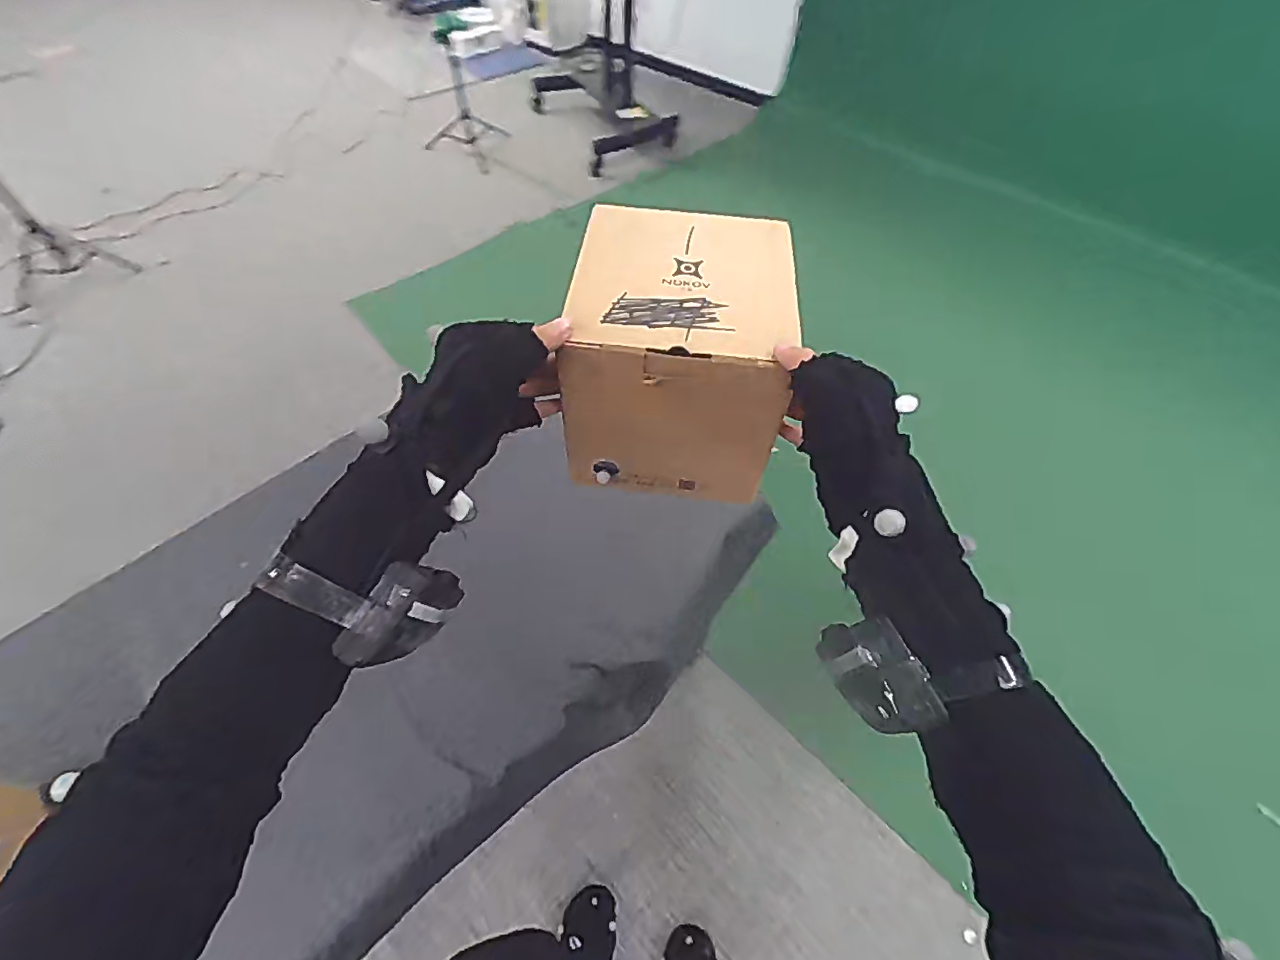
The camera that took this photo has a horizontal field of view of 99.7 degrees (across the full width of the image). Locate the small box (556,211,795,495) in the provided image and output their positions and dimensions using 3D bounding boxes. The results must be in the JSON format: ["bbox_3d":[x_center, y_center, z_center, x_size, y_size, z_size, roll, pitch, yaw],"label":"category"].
[{"bbox_3d":[0.032,-0.105,0.474,0.168,0.176,0.179,6,54,3],"label":"small box"}]
